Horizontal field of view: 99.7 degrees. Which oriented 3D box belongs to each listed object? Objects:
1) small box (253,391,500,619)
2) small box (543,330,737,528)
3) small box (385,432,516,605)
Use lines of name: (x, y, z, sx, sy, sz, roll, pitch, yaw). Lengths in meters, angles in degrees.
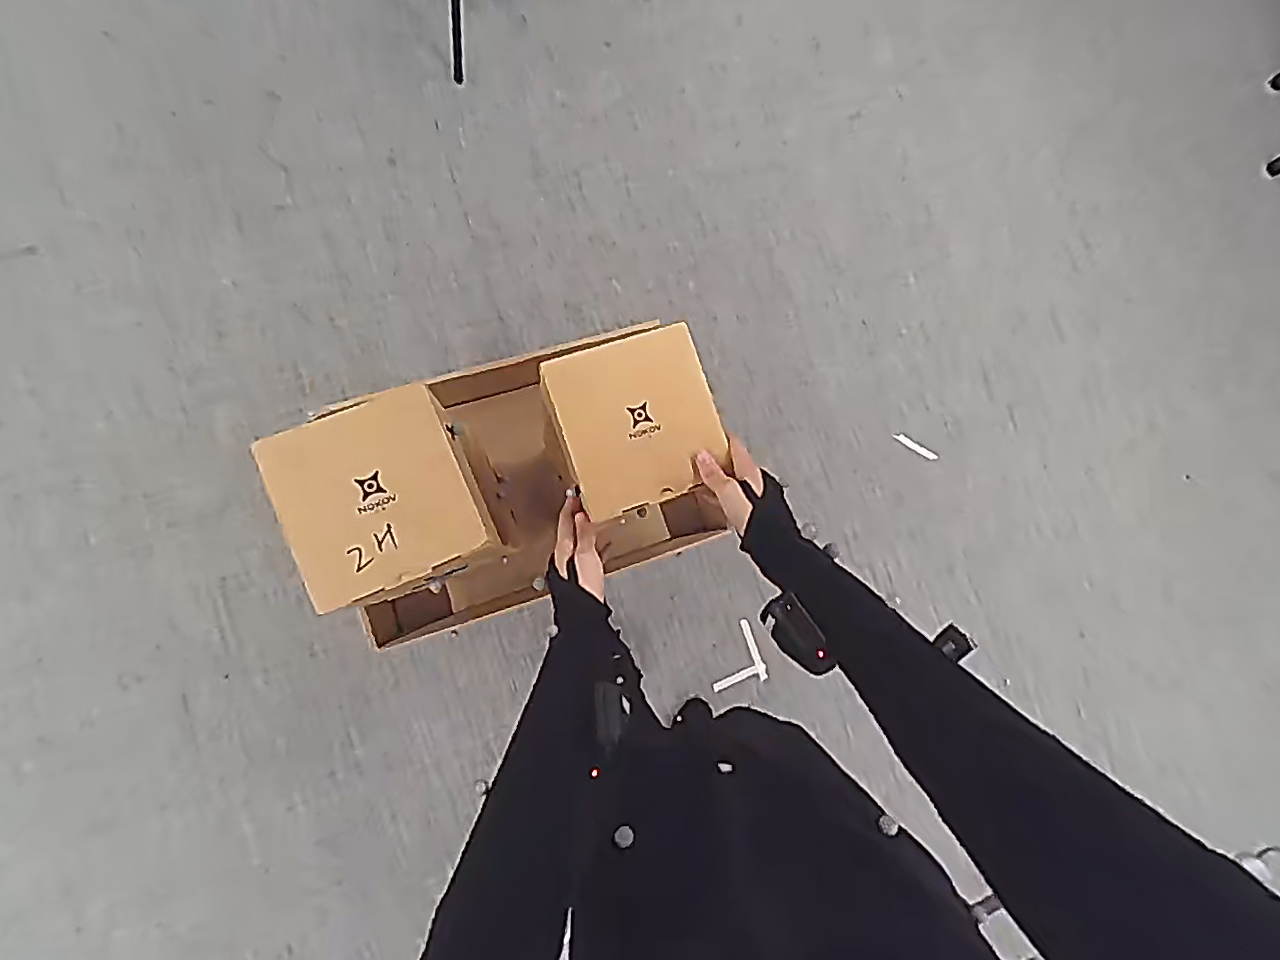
small box: (-0.264, 0.031, 0.586, 0.168, 0.176, 0.179, -23, 87, -12)
small box: (-0.013, -0.048, 0.639, 0.168, 0.176, 0.179, -19, 89, -10)
small box: (-0.279, 0.054, 0.749, 0.168, 0.176, 0.179, -21, 86, -12)
